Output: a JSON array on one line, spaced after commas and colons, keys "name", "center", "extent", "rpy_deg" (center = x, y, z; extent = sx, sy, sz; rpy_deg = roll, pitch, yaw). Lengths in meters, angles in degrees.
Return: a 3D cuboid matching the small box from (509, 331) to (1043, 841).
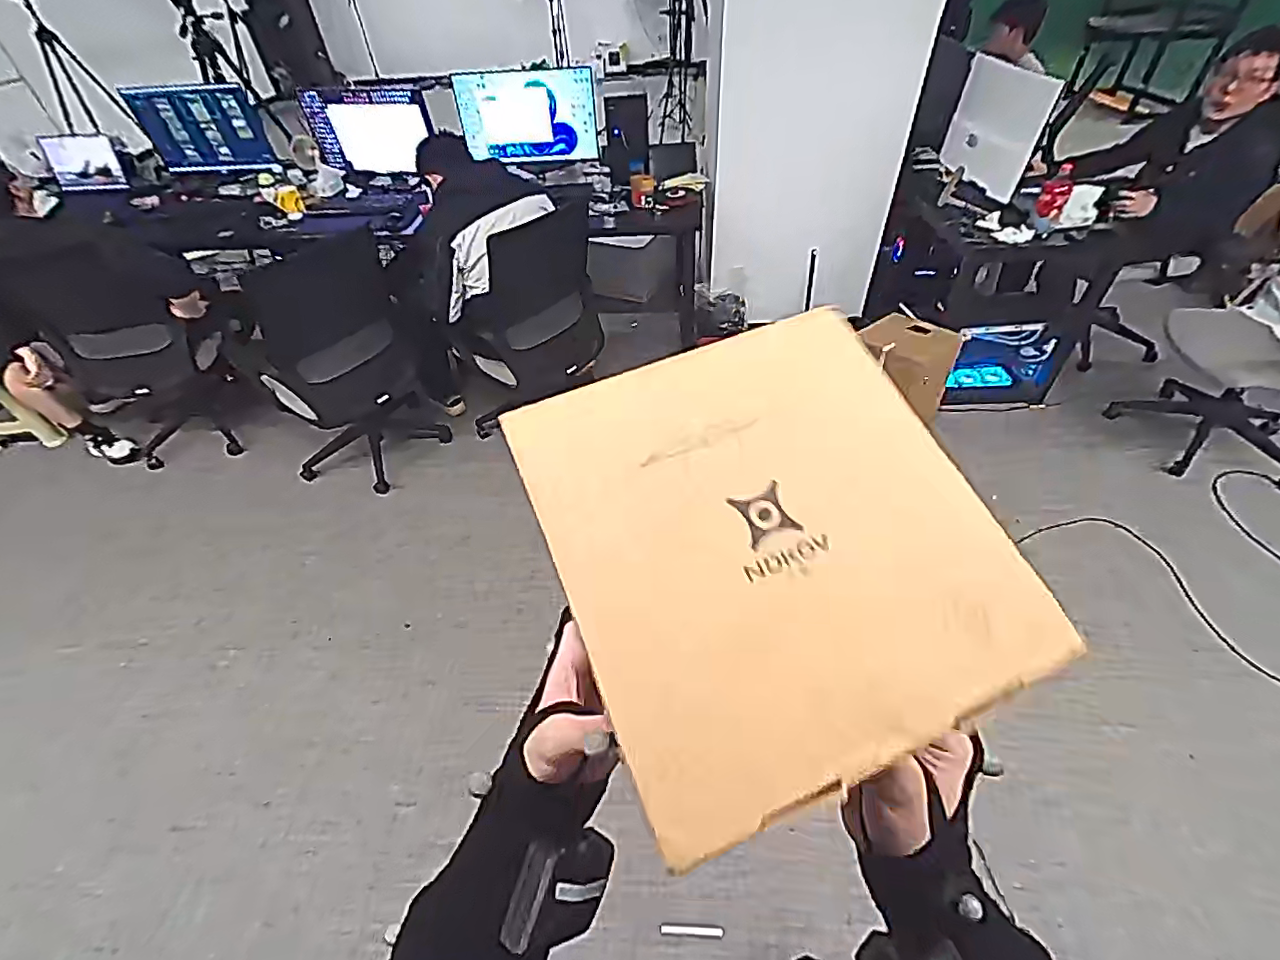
[{"name": "small box", "center": [0.047, 0.058, 0.296], "extent": [0.168, 0.176, 0.179], "rpy_deg": [-21, 63, -13]}]
